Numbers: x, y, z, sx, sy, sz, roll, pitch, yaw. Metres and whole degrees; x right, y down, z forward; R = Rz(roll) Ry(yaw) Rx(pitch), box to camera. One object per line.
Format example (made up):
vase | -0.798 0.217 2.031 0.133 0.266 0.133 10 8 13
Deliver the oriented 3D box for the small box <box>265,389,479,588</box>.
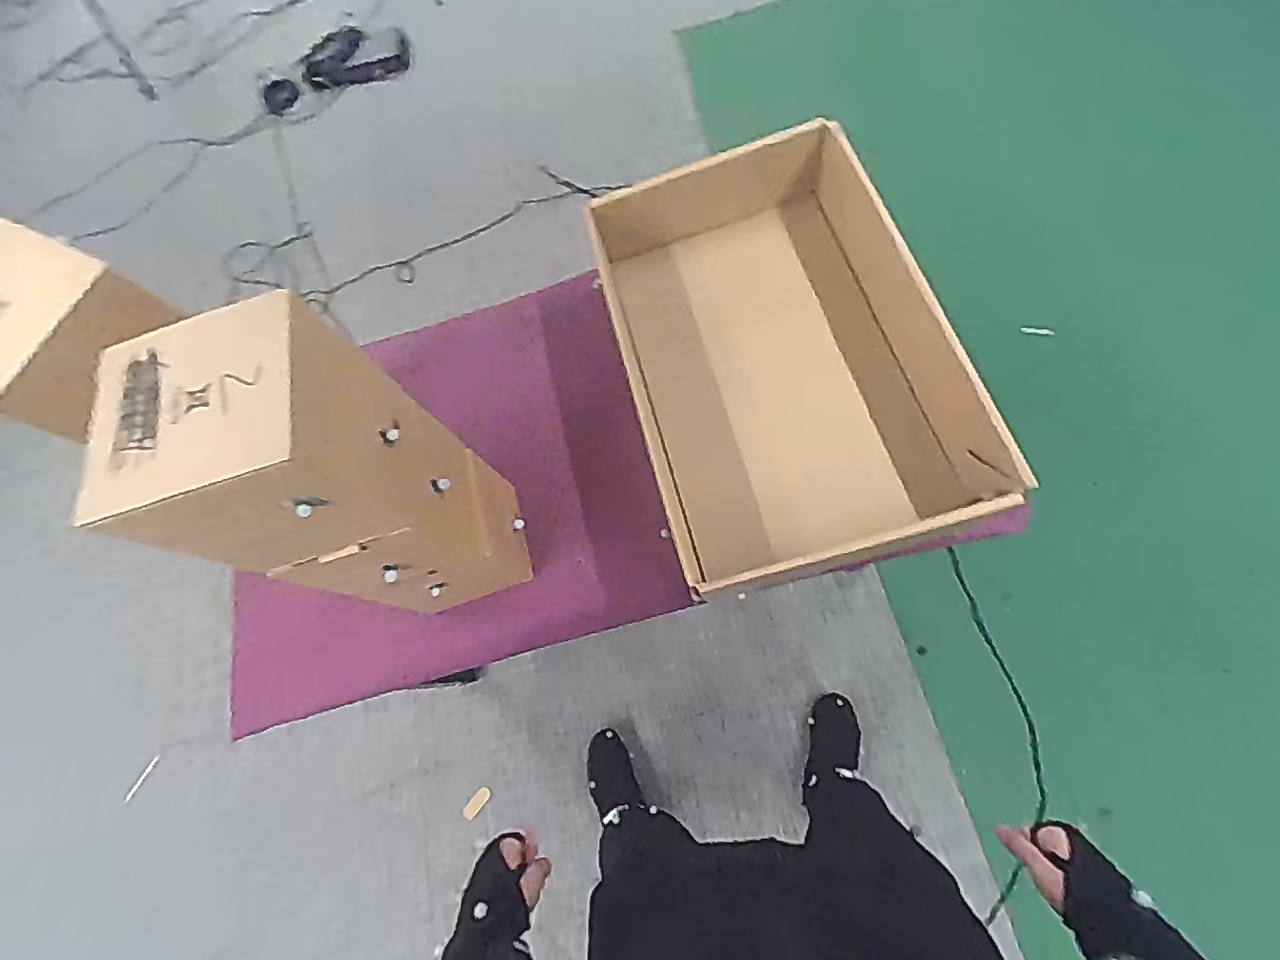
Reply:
small box | -0.310 0.024 0.650 0.168 0.176 0.179 -17 69 3

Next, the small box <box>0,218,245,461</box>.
small box | -0.587 -0.137 0.581 0.179 0.176 0.168 23 77 16

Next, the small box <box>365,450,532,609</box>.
small box | -0.281 0.083 0.799 0.179 0.176 0.168 -19 68 3

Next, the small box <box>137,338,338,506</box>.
small box | -0.557 -0.085 0.731 0.168 0.176 0.179 25 77 15
